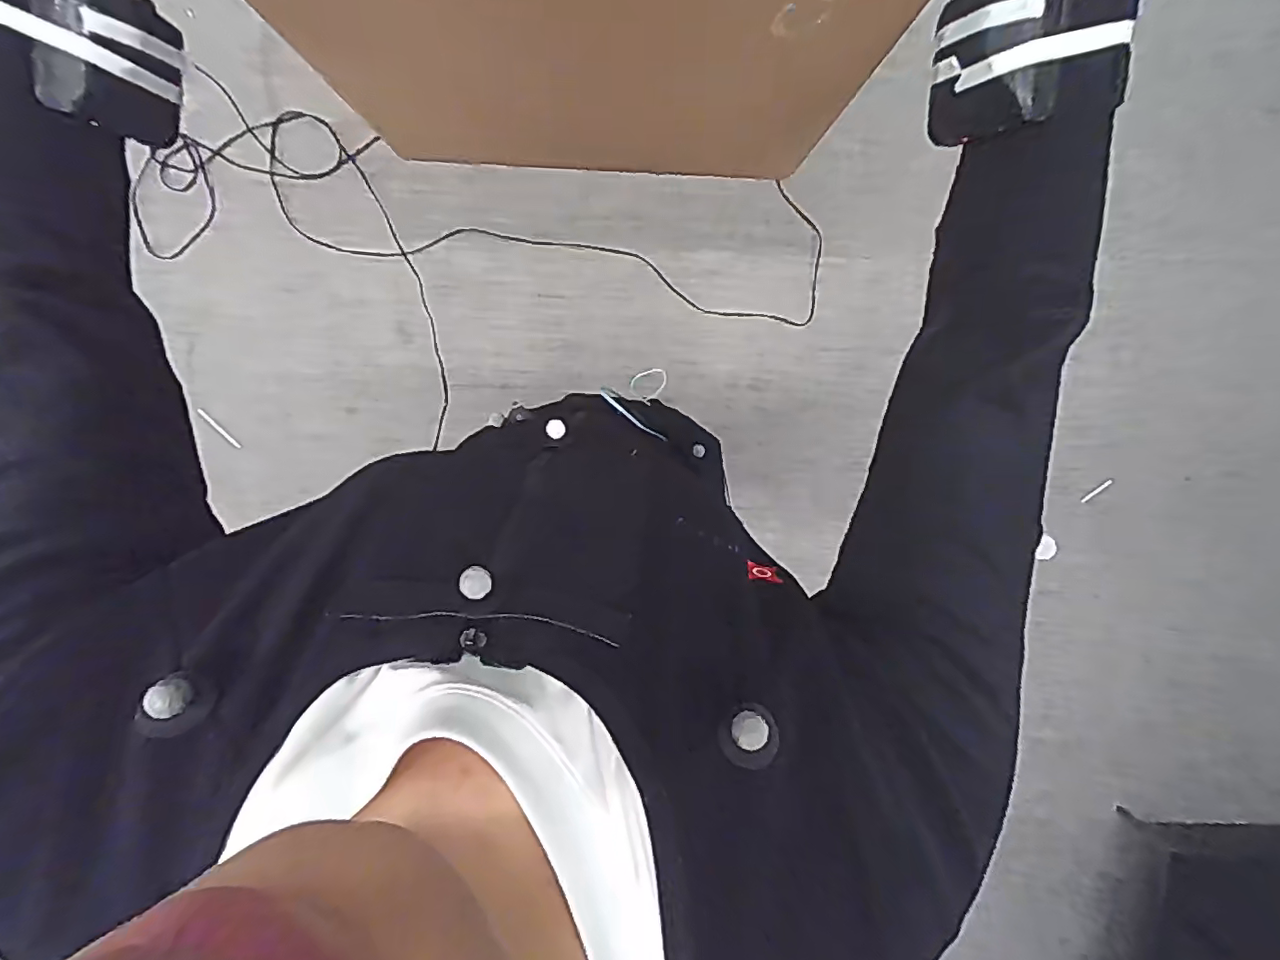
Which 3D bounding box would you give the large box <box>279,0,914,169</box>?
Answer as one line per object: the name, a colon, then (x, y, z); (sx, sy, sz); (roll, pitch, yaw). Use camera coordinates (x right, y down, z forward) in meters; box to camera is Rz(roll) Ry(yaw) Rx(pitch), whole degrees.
large box: (-0.031, -0.453, 0.389); (0.408, 0.320, 0.320); (1, 100, -3)
